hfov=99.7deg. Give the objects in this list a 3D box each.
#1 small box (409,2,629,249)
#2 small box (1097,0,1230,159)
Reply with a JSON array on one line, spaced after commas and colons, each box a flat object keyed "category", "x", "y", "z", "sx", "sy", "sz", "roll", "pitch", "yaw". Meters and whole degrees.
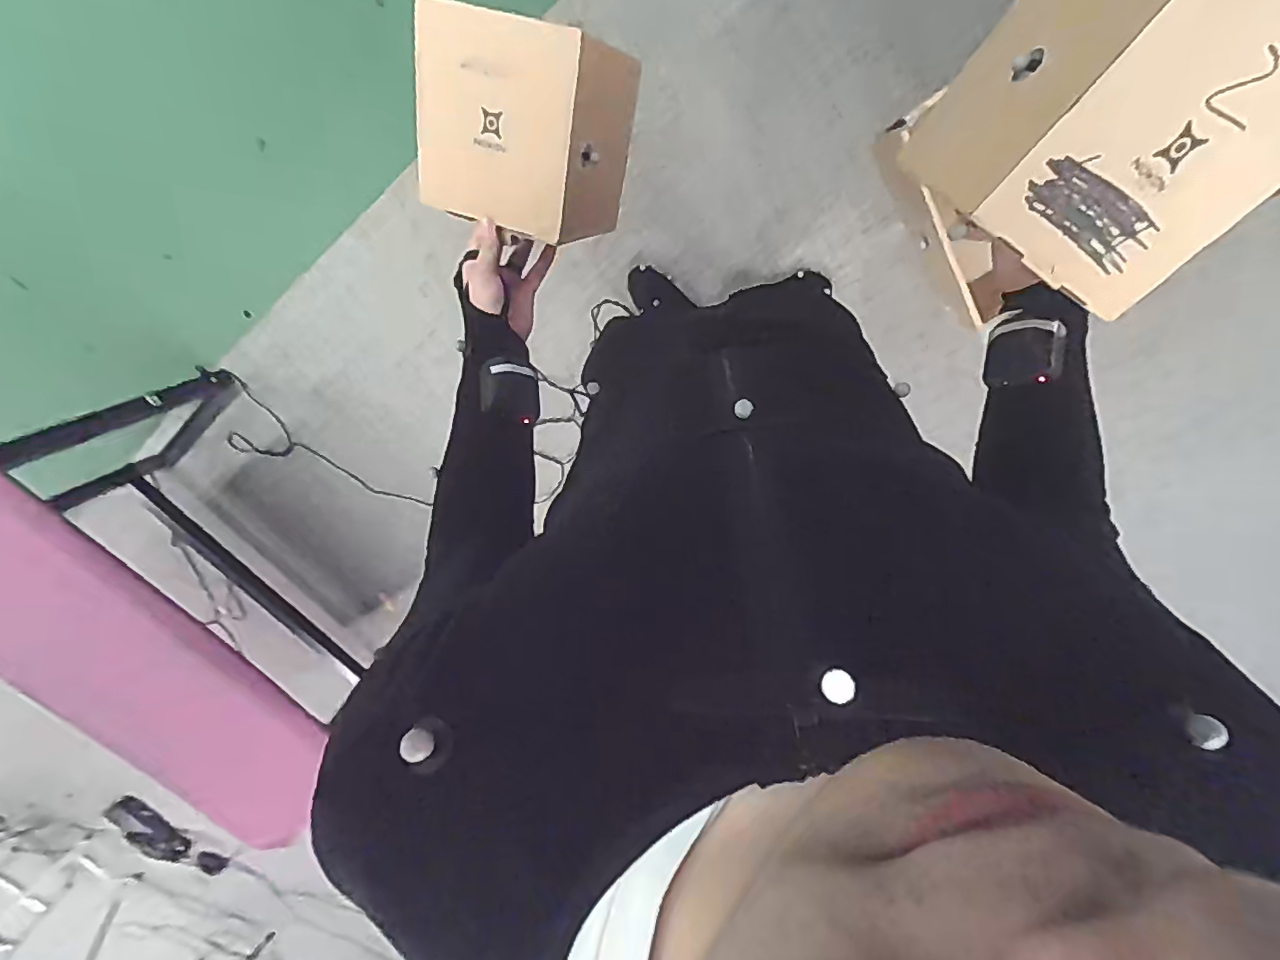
[{"category": "small box", "x": -0.123, "y": -0.372, "z": 0.584, "sx": 0.168, "sy": 0.176, "sz": 0.179, "roll": 19, "pitch": 124, "yaw": 9}, {"category": "small box", "x": 0.836, "y": -0.604, "z": 0.793, "sx": 0.179, "sy": 0.176, "sz": 0.168, "roll": -28, "pitch": 109, "yaw": 21}]
